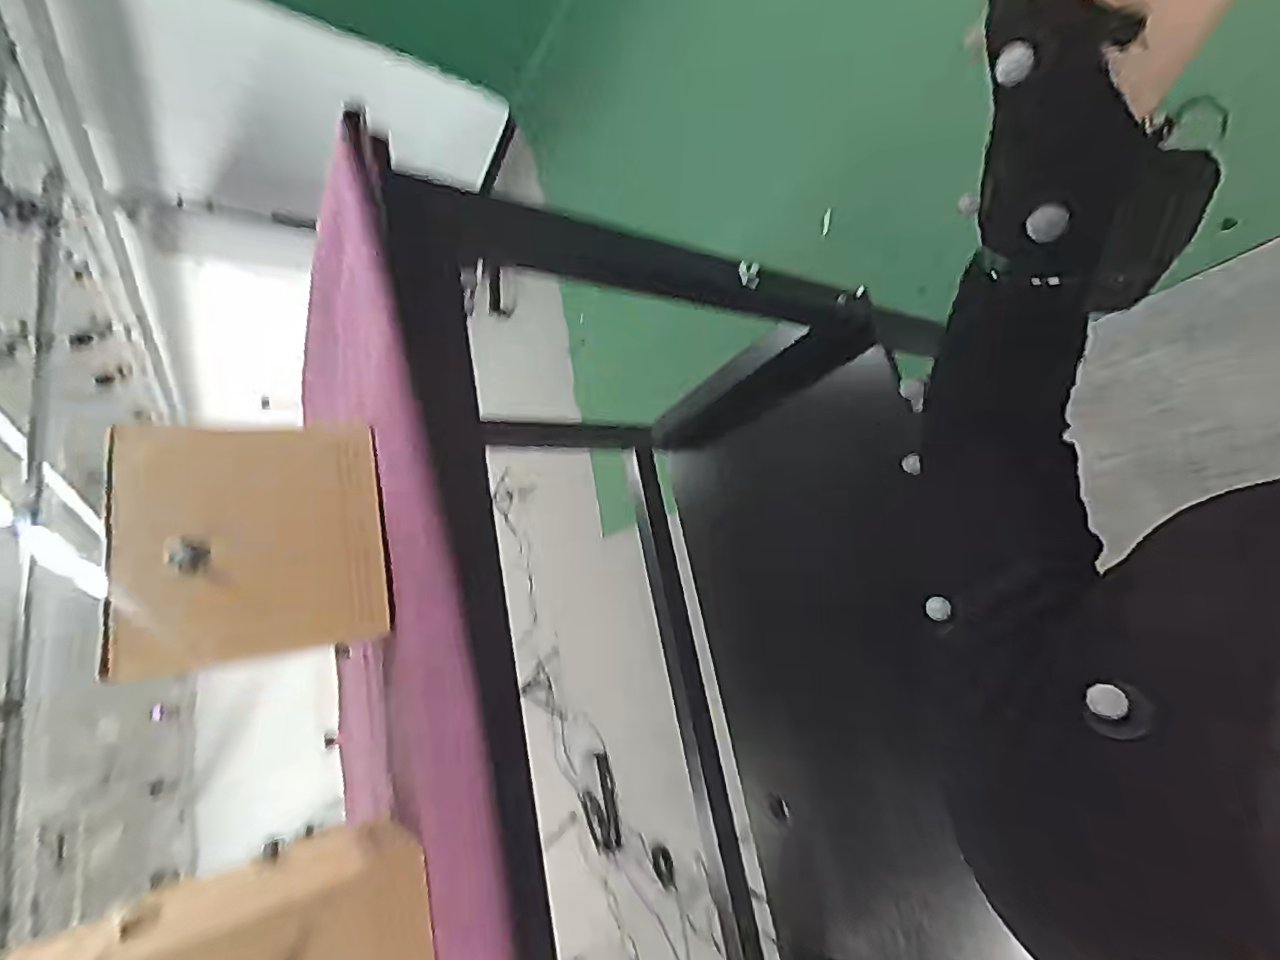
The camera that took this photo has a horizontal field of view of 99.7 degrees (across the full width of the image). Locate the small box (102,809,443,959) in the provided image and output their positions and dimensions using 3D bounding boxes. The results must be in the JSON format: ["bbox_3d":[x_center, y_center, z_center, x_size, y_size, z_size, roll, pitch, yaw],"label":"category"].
[{"bbox_3d":[-0.232,0.350,0.363,0.168,0.176,0.179,-34,65,51],"label":"small box"}]

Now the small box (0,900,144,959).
[{"bbox_3d":[-0.366,0.361,0.269,0.168,0.176,0.179,-36,62,50],"label":"small box"}]

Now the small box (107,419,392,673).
[{"bbox_3d":[-0.317,0.055,0.465,0.168,0.176,0.179,-31,67,54],"label":"small box"}]
